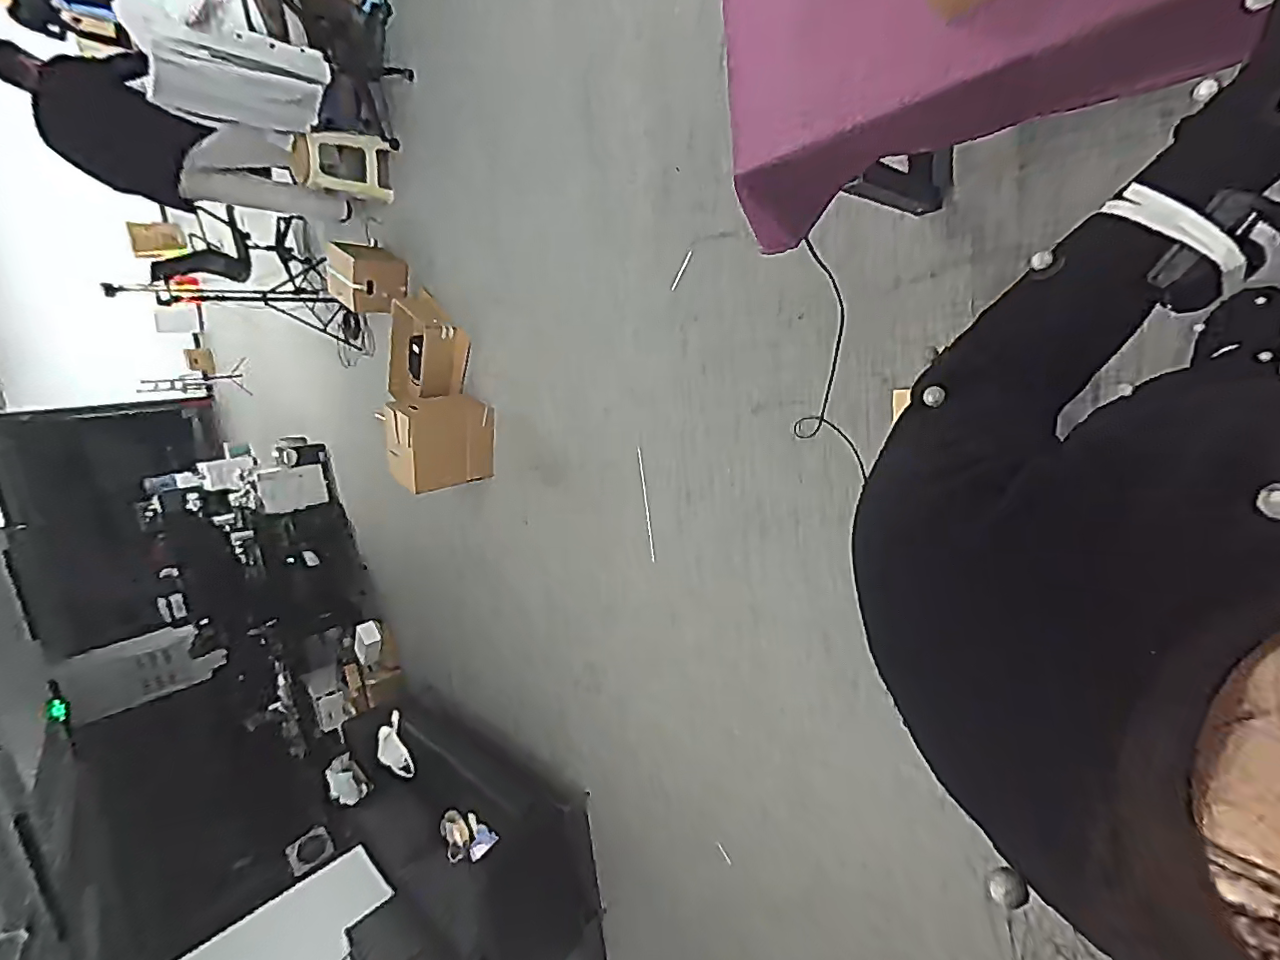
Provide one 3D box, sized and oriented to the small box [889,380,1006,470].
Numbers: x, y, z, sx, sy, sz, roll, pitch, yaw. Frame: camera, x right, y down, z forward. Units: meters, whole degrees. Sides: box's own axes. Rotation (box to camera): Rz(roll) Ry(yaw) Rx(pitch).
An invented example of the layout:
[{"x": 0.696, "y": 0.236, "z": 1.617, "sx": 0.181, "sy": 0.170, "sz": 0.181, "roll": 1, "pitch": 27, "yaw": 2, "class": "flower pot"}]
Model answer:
[{"x": 0.653, "y": -0.123, "z": 1.152, "sx": 0.179, "sy": 0.176, "sz": 0.168, "roll": 7, "pitch": 108, "yaw": 44, "class": "small box"}]
